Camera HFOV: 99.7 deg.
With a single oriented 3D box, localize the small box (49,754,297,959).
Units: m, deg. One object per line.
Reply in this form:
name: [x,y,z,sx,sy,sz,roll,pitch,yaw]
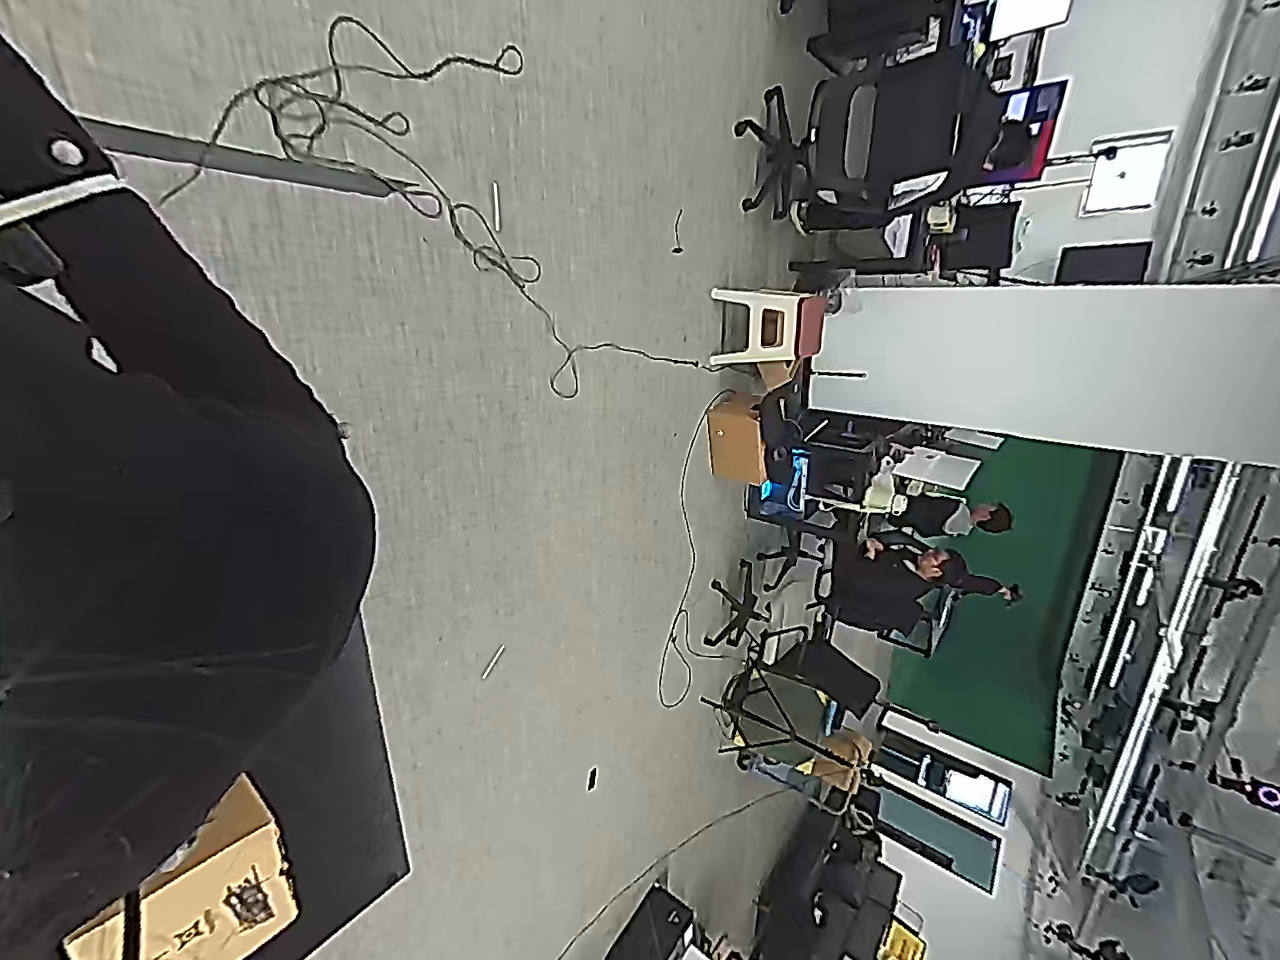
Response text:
small box: [-0.551,0.474,0.648,0.179,0.176,0.168,-20,117,-48]
